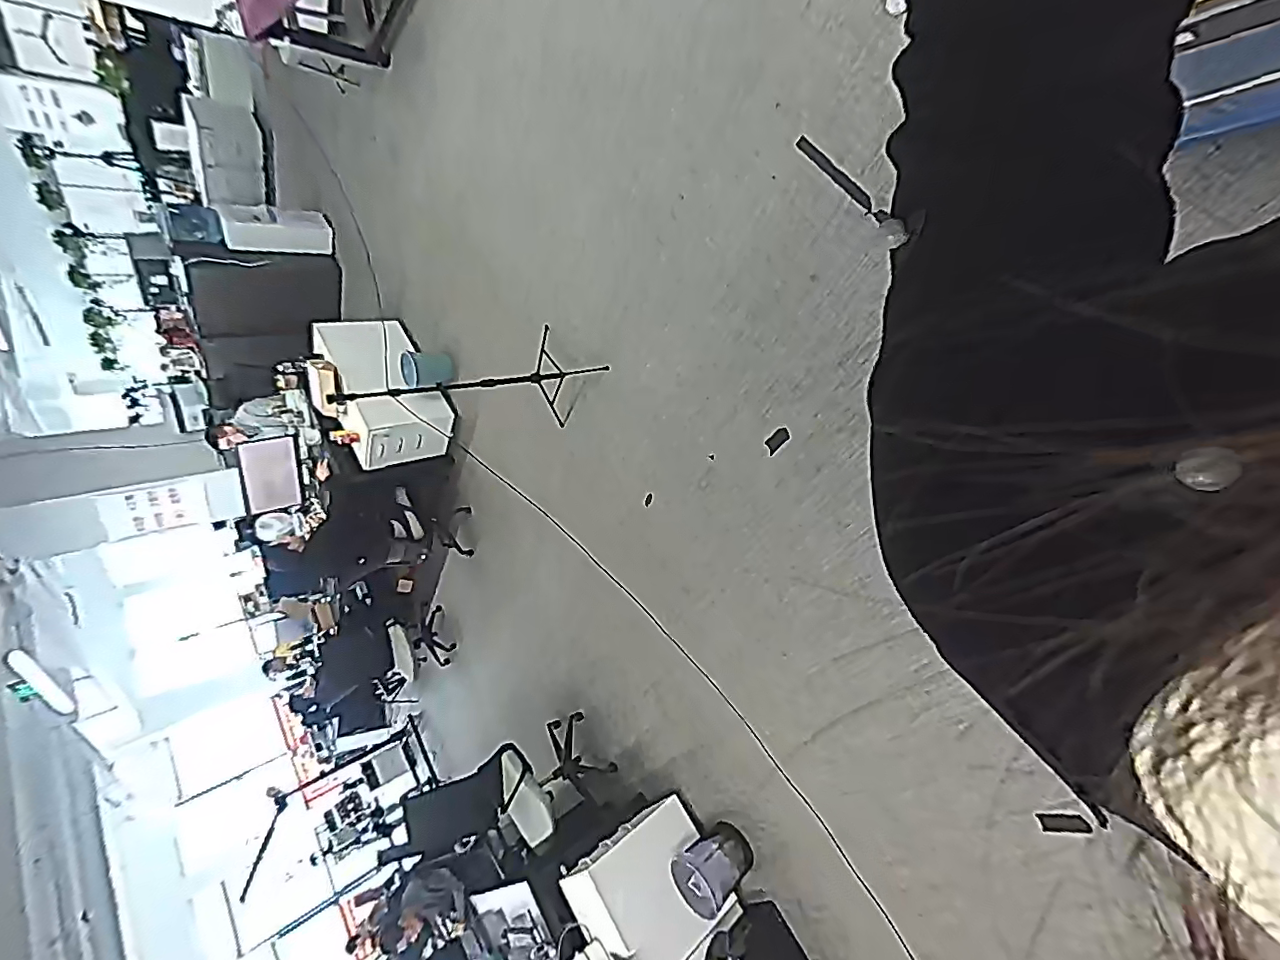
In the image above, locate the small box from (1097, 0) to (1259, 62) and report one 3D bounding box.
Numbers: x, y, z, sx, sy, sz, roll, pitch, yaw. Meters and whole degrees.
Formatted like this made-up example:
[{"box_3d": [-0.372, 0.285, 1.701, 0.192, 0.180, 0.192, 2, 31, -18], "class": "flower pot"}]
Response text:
[{"box_3d": [0.799, -0.761, 0.801, 0.168, 0.176, 0.179, 2, 106, 47], "class": "small box"}]
